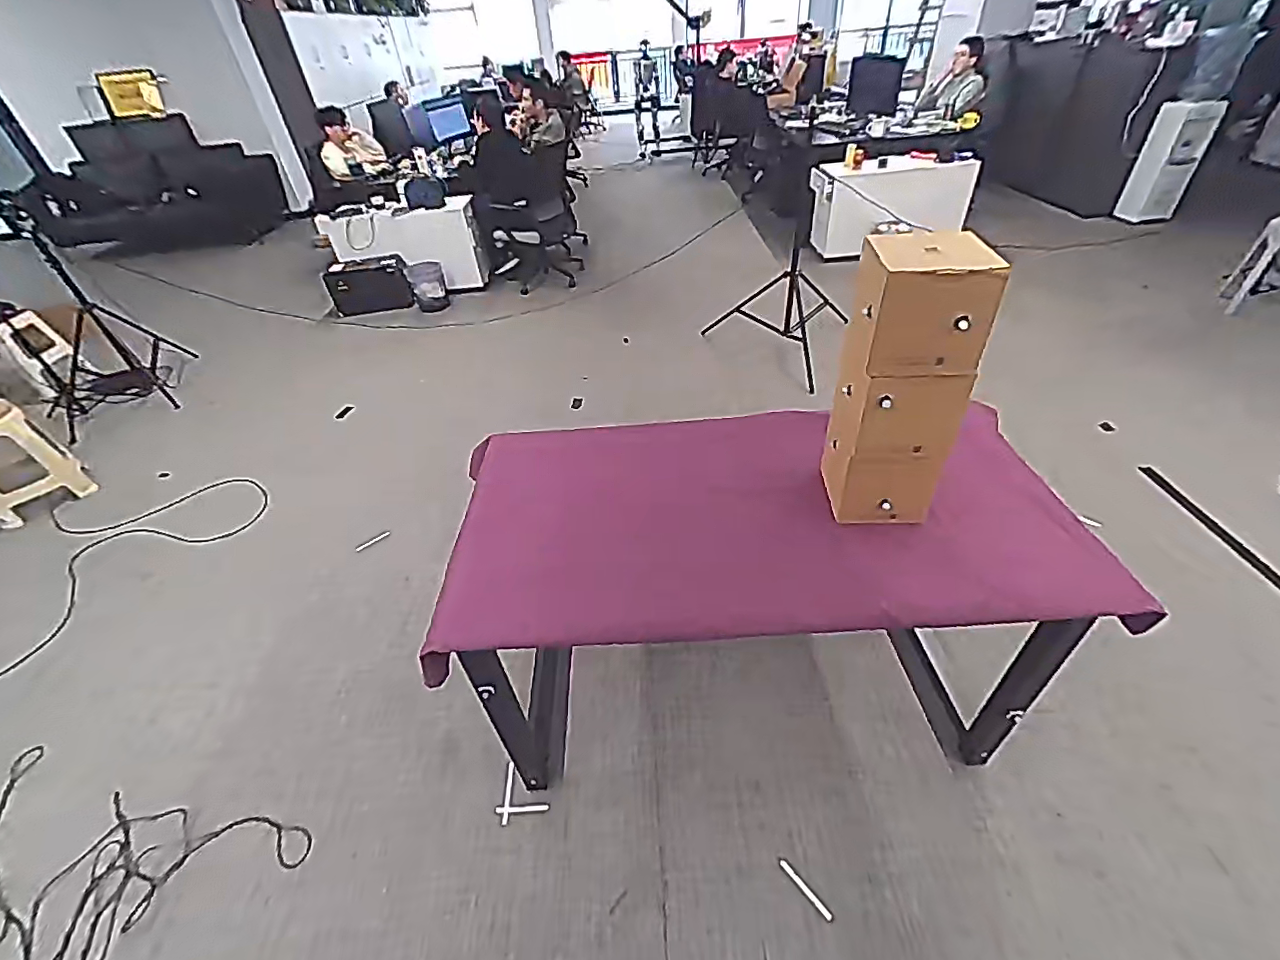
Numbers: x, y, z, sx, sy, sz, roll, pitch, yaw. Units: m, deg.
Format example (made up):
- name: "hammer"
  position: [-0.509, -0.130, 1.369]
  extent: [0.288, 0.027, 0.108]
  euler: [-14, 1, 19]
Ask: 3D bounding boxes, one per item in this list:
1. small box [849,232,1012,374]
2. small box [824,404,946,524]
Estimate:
- name: "small box"
  position: [0.442, -0.278, 0.856]
  extent: [0.168, 0.176, 0.179]
  euler: [1, 39, 7]
- name: "small box"
  position: [0.471, -0.034, 1.071]
  extent: [0.168, 0.176, 0.179]
  euler: [-1, 40, 7]
